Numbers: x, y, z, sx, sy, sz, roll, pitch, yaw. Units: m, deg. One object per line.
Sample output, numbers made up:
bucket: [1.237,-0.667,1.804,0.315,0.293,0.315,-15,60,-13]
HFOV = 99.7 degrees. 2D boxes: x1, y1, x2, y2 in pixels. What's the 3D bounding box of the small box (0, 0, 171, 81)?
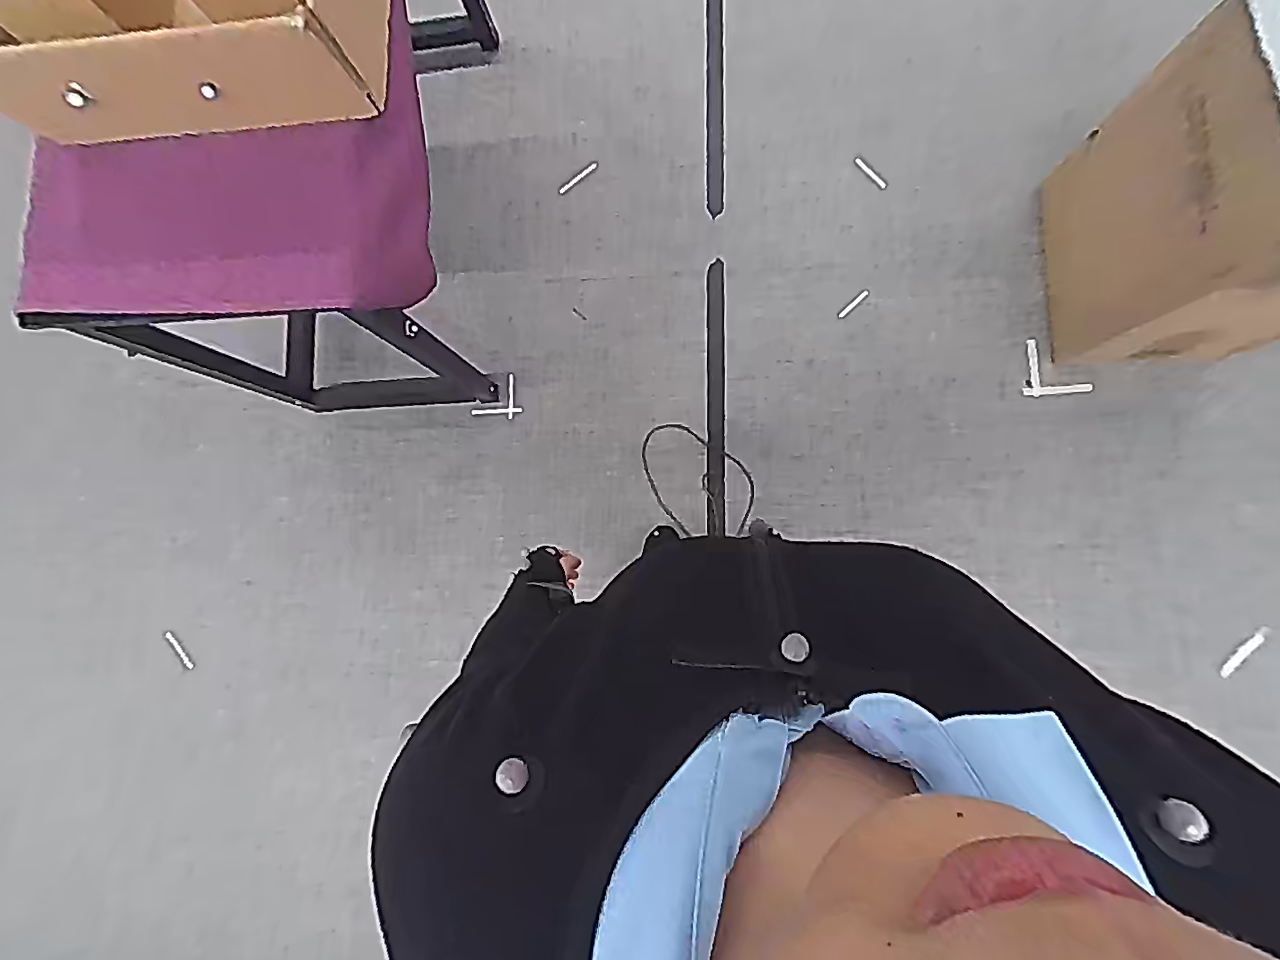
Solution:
small box: [-0.862,-0.758,0.820,0.168,0.176,0.179,-4,83,4]
